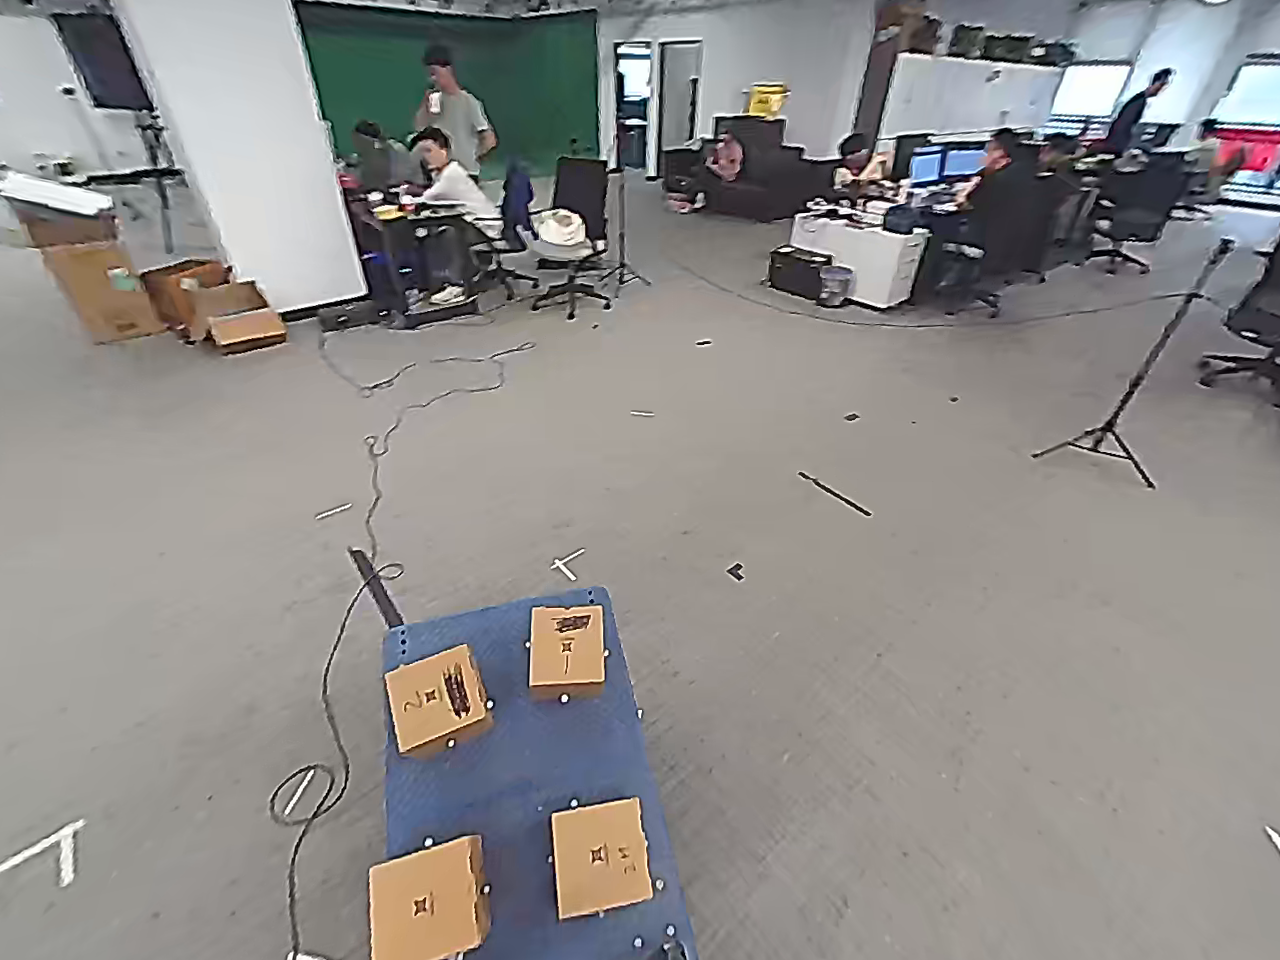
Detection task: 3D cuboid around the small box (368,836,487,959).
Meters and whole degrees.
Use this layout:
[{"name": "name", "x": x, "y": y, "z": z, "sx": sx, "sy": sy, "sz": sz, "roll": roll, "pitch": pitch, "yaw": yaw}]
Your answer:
[{"name": "small box", "x": -0.393, "y": 0.790, "z": 1.012, "sx": 0.179, "sy": 0.176, "sz": 0.168, "roll": -9, "pitch": 59, "yaw": -16}]

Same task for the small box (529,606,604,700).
[{"name": "small box", "x": -0.174, "y": 0.413, "z": 1.286, "sx": 0.168, "sy": 0.176, "sz": 0.179, "roll": 0, "pitch": 58, "yaw": -8}]

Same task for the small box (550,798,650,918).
[{"name": "small box", "x": -0.085, "y": 0.750, "z": 1.082, "sx": 0.179, "sy": 0.176, "sz": 0.168, "roll": -4, "pitch": 59, "yaw": -11}]
